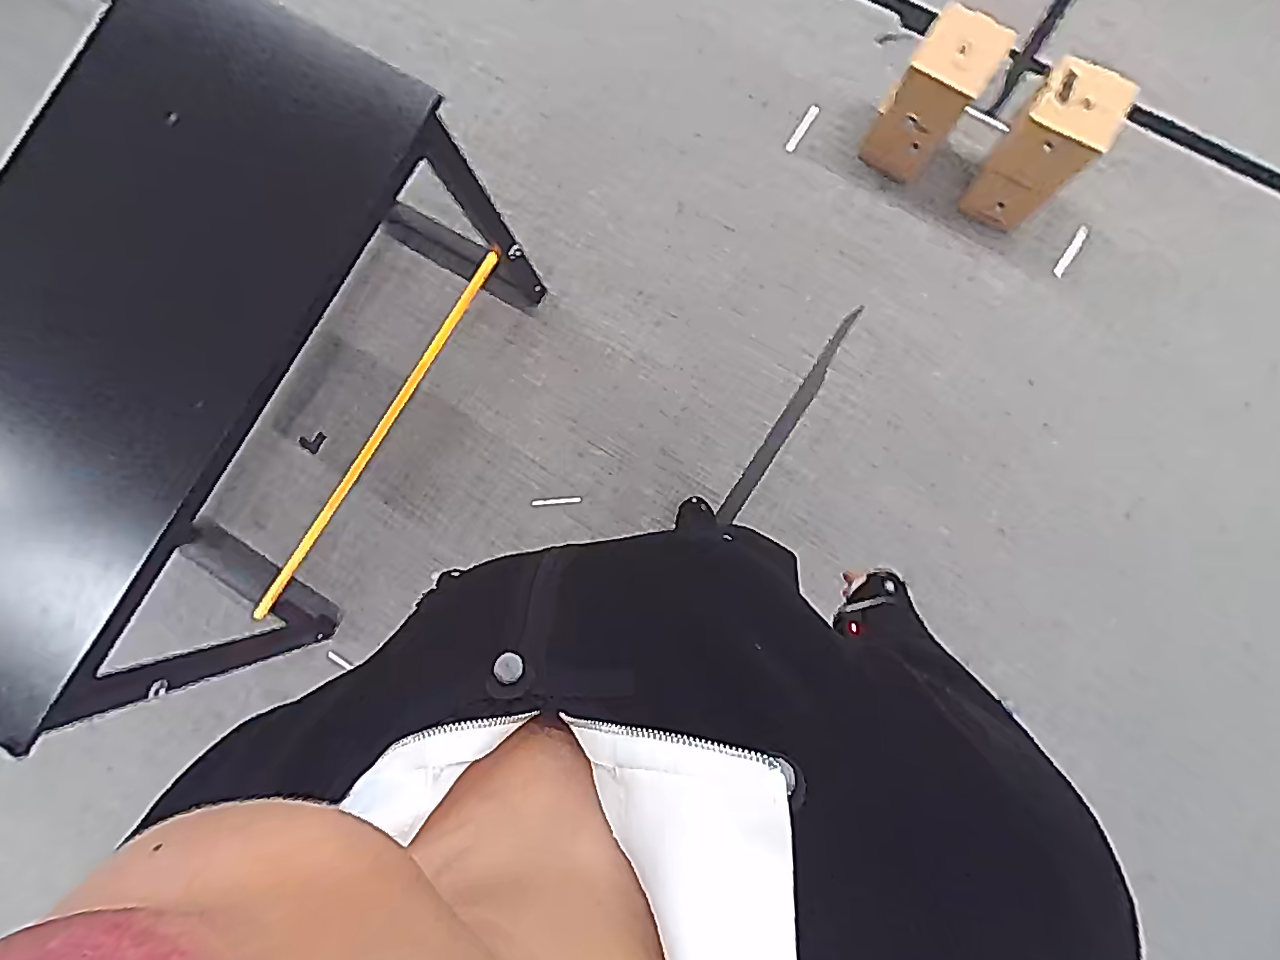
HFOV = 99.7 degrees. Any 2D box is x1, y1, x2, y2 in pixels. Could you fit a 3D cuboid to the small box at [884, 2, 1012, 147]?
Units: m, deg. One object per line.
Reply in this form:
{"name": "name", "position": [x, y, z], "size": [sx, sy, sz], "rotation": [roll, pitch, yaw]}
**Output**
{"name": "small box", "position": [0.705, -0.935, 1.261], "size": [0.168, 0.176, 0.179], "rotation": [33, 90, 7]}

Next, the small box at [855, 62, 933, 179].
{"name": "small box", "position": [0.705, -0.936, 1.424], "size": [0.179, 0.176, 0.168], "rotation": [33, 89, 6]}

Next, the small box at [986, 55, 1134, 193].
{"name": "small box", "position": [0.942, -0.799, 1.233], "size": [0.179, 0.176, 0.168], "rotation": [30, 89, 5]}

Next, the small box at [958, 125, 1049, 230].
{"name": "small box", "position": [0.963, -0.787, 1.397], "size": [0.168, 0.176, 0.179], "rotation": [29, 90, 6]}
